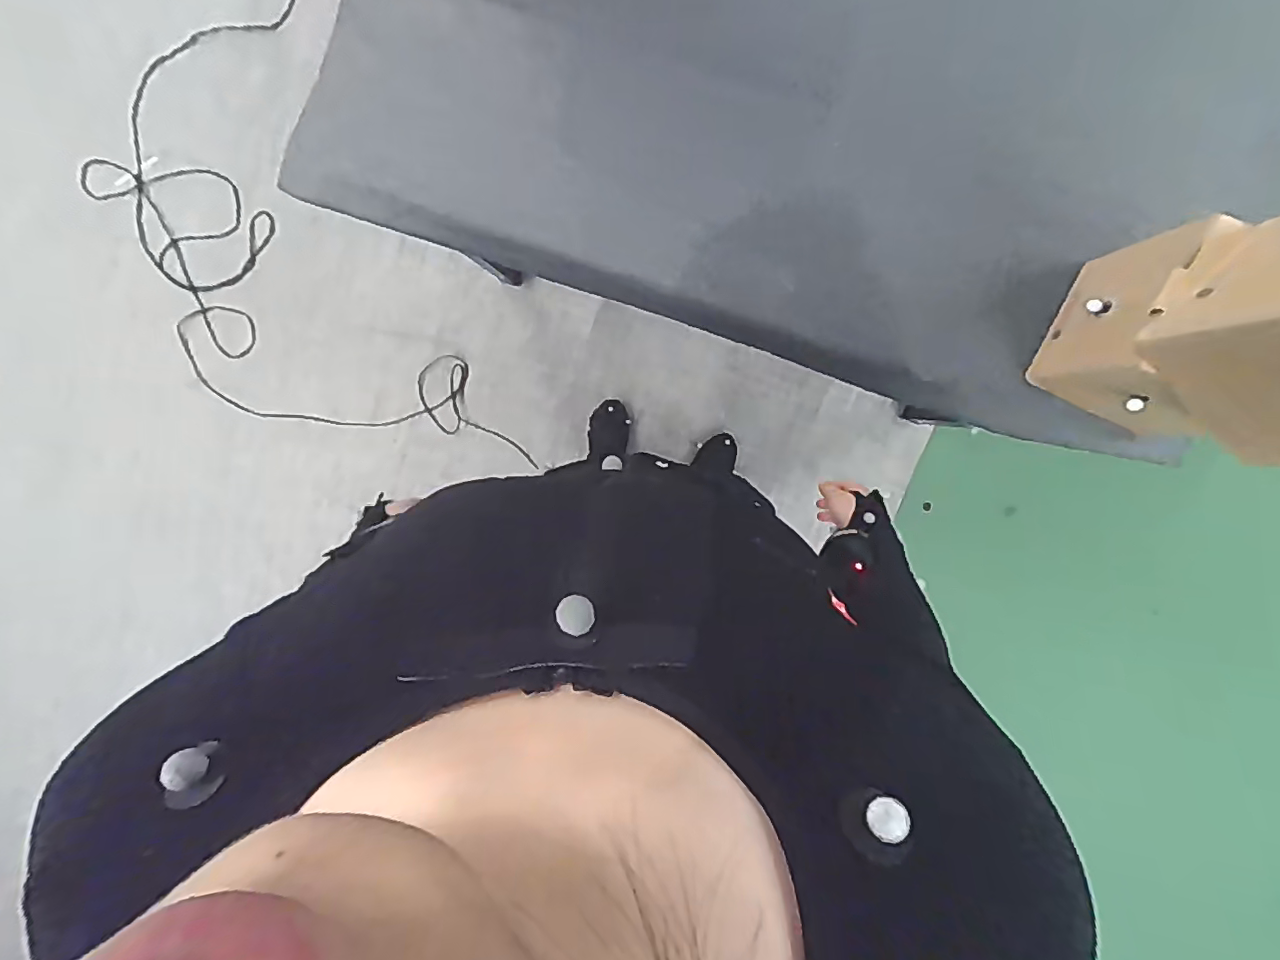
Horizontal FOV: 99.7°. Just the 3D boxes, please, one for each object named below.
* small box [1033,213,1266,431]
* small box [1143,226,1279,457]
[{"bbox_3d":[0.607,-0.160,0.613,0.179,0.176,0.168,25,96,-1],"label":"small box"},{"bbox_3d":[0.600,-0.125,0.453,0.168,0.176,0.179,-44,94,5],"label":"small box"}]
